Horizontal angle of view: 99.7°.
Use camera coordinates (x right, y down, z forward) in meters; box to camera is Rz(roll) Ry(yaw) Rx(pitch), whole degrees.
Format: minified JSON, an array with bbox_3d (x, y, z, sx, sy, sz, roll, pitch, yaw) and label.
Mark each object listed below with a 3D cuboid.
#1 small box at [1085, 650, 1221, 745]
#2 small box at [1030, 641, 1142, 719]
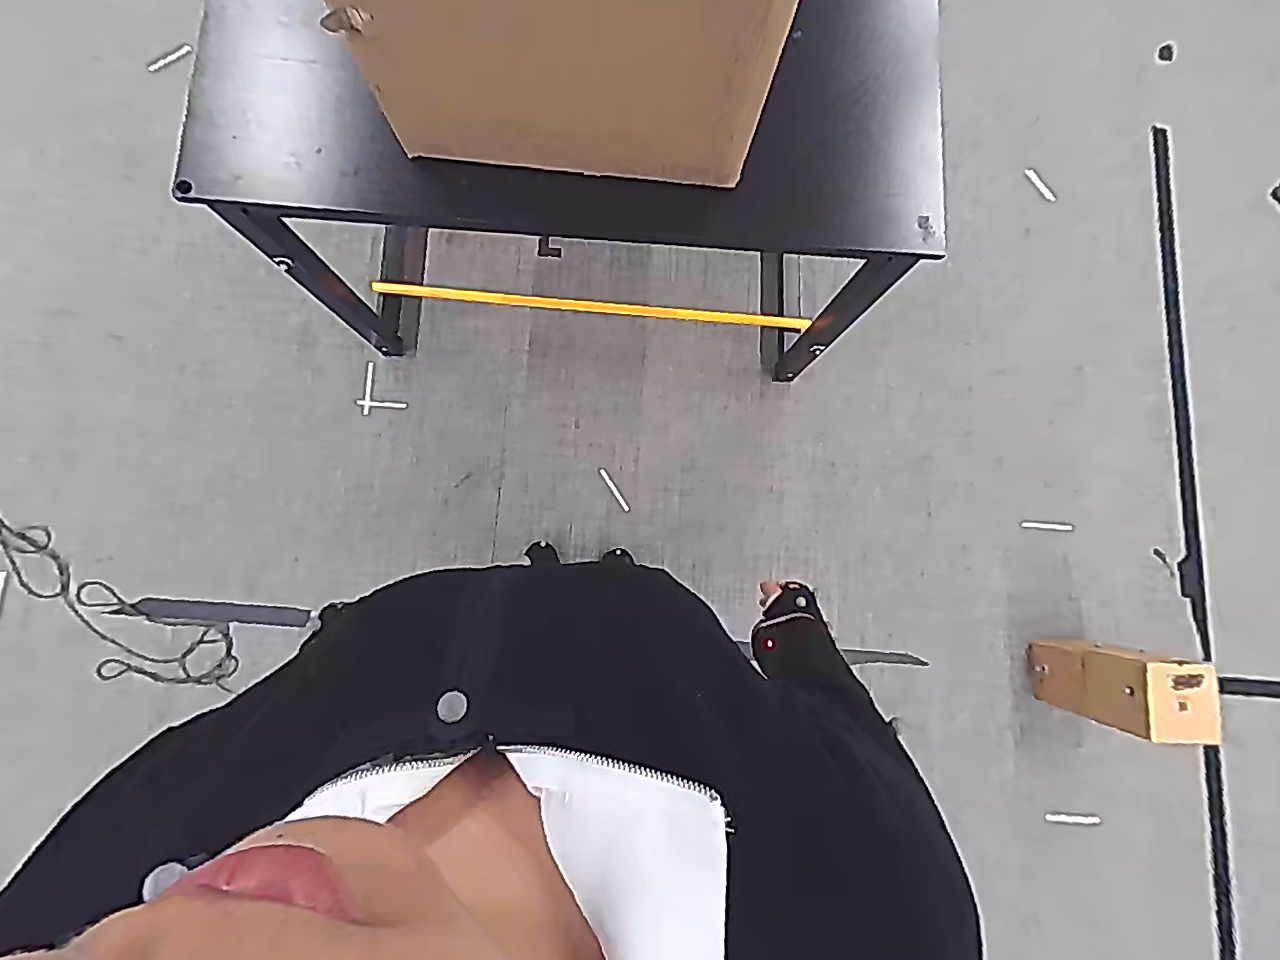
[{"bbox_3d":[1.207,0.508,1.286,0.168,0.176,0.179,3,83,-2],"label":"small box"},{"bbox_3d":[1.198,0.529,1.449,0.179,0.176,0.168,-2,82,-2],"label":"small box"}]
